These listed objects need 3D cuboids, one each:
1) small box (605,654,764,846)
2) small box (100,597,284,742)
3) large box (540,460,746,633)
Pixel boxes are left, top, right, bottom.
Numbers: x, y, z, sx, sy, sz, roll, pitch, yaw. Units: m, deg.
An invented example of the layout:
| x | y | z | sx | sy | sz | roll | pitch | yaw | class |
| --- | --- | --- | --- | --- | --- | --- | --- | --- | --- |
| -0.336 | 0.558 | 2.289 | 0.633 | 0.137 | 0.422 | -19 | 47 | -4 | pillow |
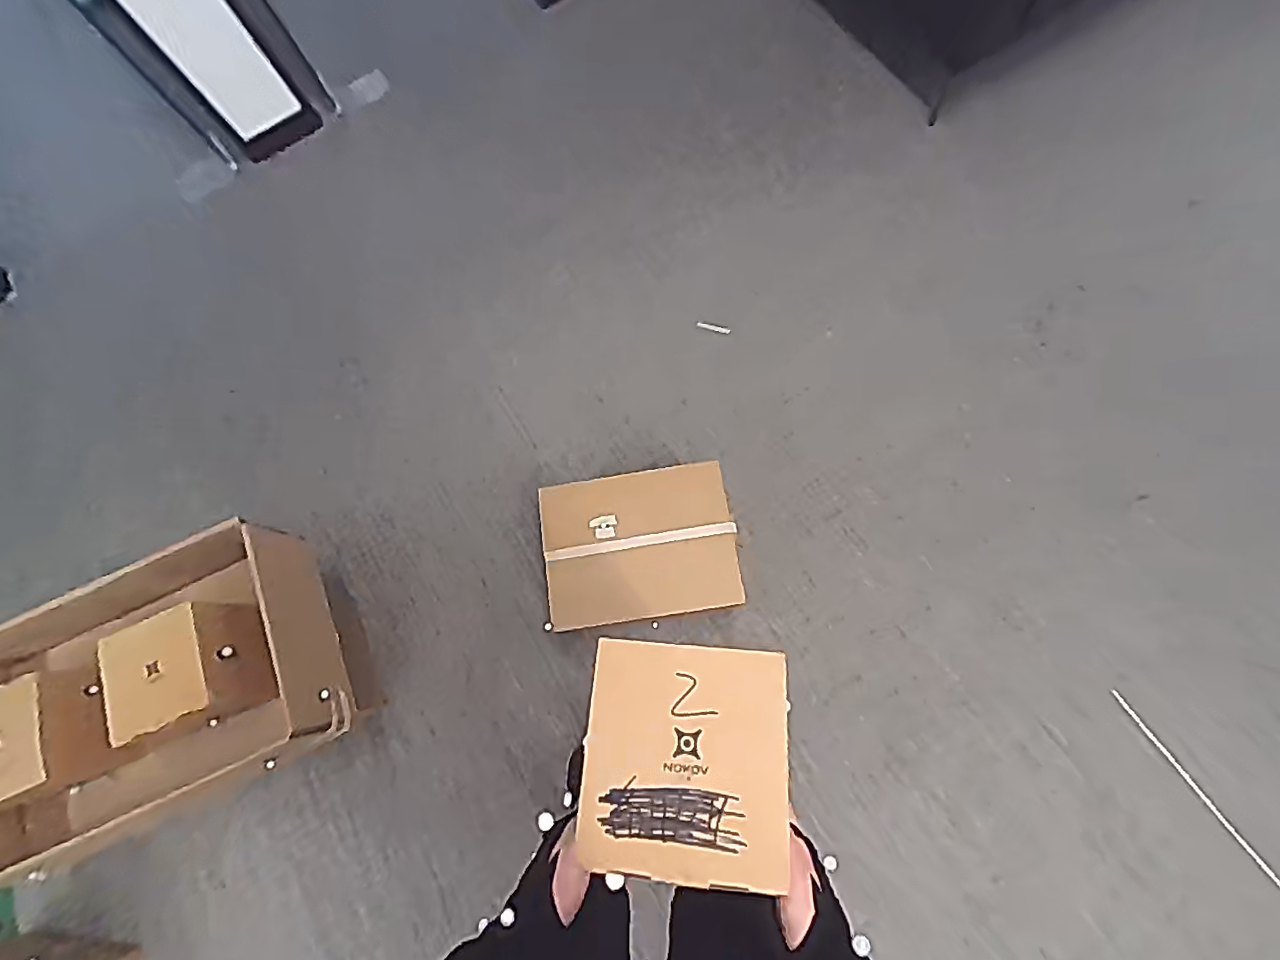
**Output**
| x | y | z | sx | sy | sz | roll | pitch | yaw | class |
| --- | --- | --- | --- | --- | --- | --- | --- | --- | --- |
| 0.058 | 0.322 | 0.664 | 0.168 | 0.176 | 0.179 | 4 | 64 | 5 | small box |
| -0.764 | 0.320 | 0.936 | 0.168 | 0.176 | 0.179 | -24 | 75 | -2 | small box |
| 0.012 | 0.172 | 1.277 | 0.408 | 0.320 | 0.320 | -9 | 73 | 3 | large box |
